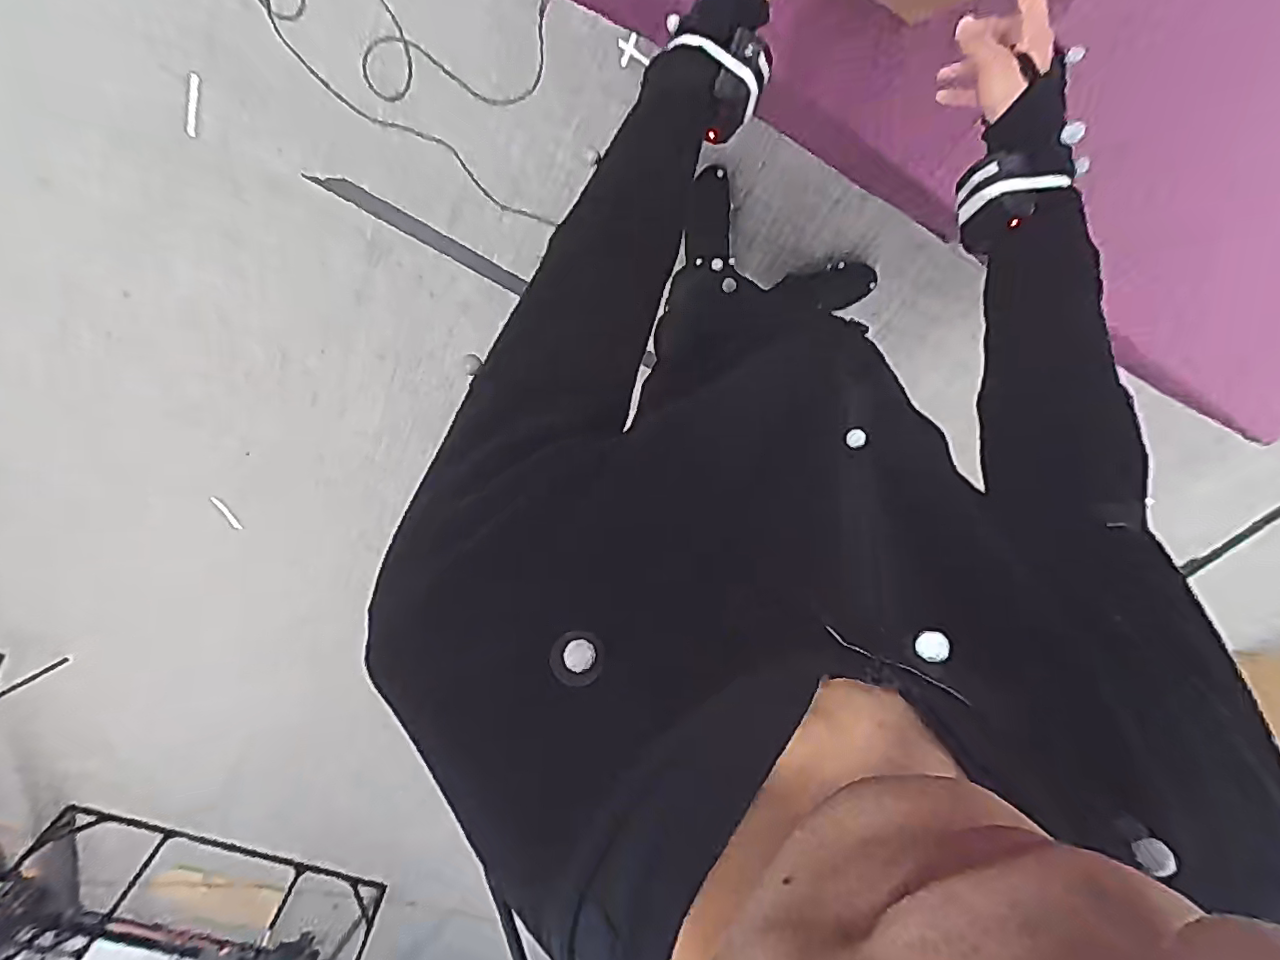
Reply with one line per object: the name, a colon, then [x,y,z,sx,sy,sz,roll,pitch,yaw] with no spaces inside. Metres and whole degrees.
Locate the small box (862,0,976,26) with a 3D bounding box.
small box: [0.258,-0.545,0.466,0.168,0.176,0.179,25,121,-12]
